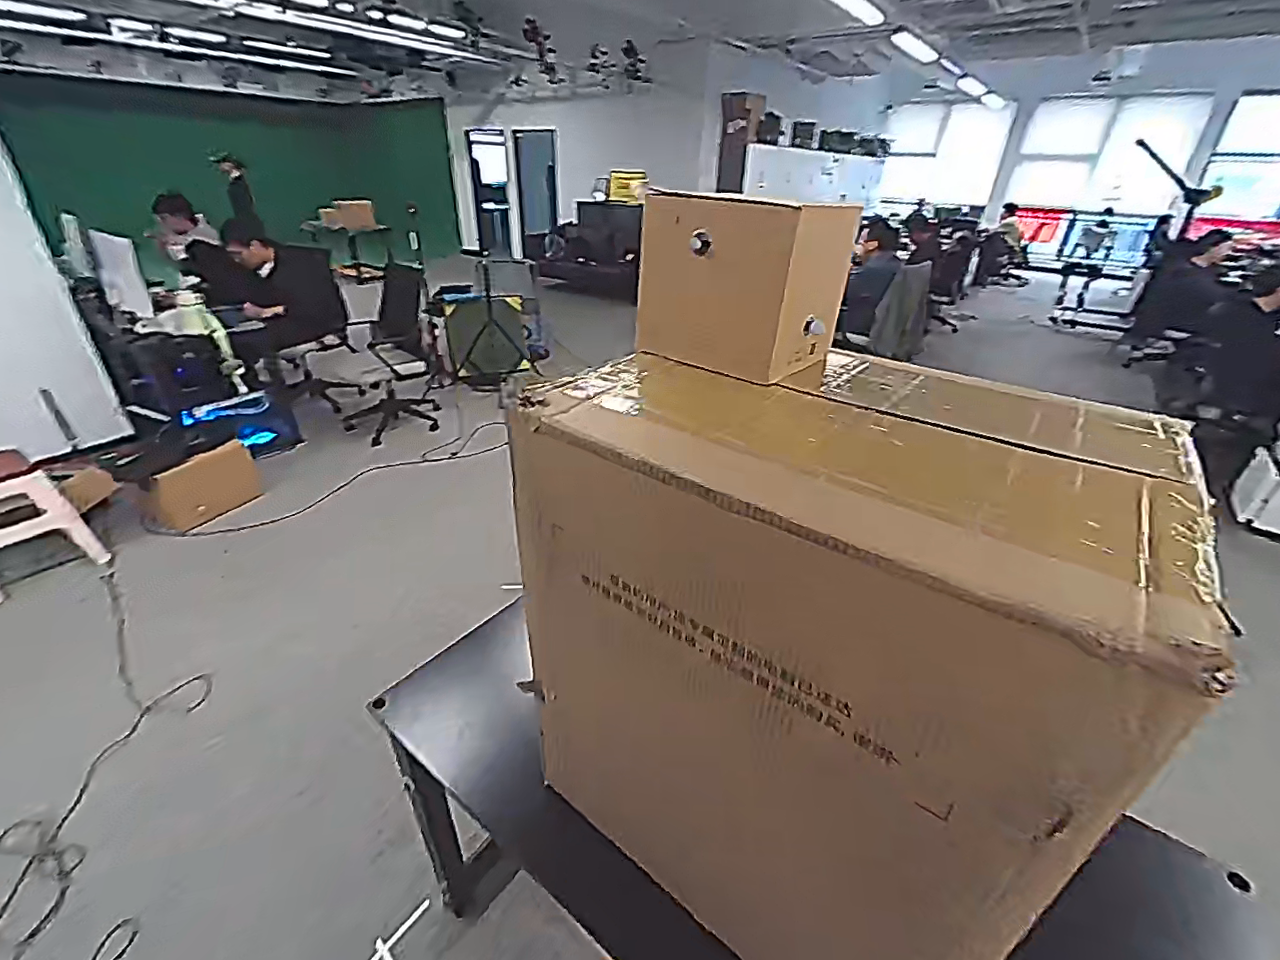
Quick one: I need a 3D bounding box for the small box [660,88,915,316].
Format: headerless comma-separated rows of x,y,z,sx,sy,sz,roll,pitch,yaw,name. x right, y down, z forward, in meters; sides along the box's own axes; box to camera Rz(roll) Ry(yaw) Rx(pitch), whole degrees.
0.135,-0.265,0.529,0.179,0.176,0.168,24,35,31,small box
